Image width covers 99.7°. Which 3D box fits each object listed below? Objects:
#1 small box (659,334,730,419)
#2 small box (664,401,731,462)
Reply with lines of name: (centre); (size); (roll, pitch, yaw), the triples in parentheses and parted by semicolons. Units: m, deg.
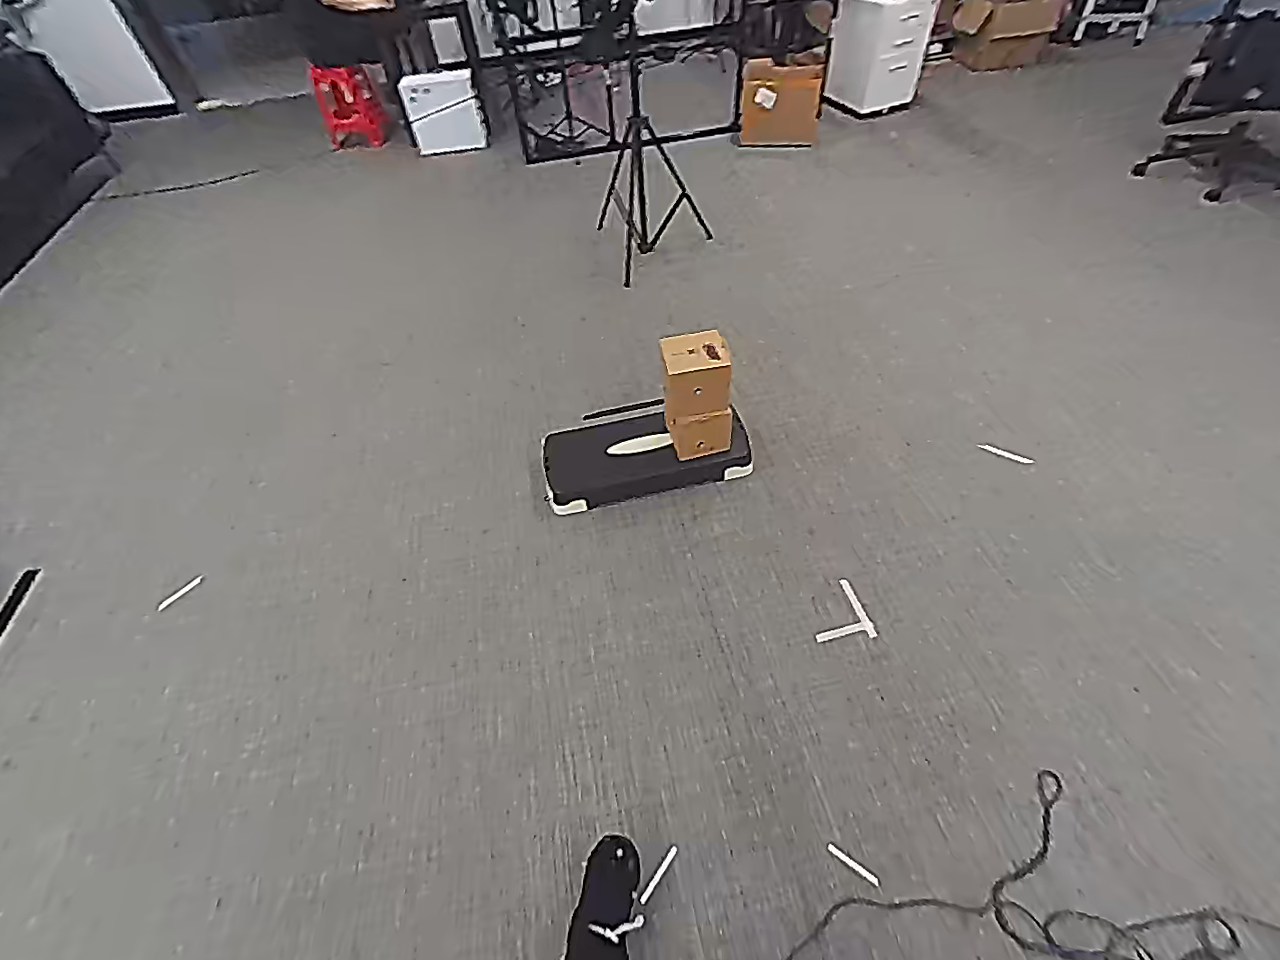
small box: (0.155, -0.299, 1.579); (0.179, 0.176, 0.168); (-10, 51, -2)
small box: (0.174, -0.185, 1.697); (0.168, 0.176, 0.179); (-14, 51, -6)
